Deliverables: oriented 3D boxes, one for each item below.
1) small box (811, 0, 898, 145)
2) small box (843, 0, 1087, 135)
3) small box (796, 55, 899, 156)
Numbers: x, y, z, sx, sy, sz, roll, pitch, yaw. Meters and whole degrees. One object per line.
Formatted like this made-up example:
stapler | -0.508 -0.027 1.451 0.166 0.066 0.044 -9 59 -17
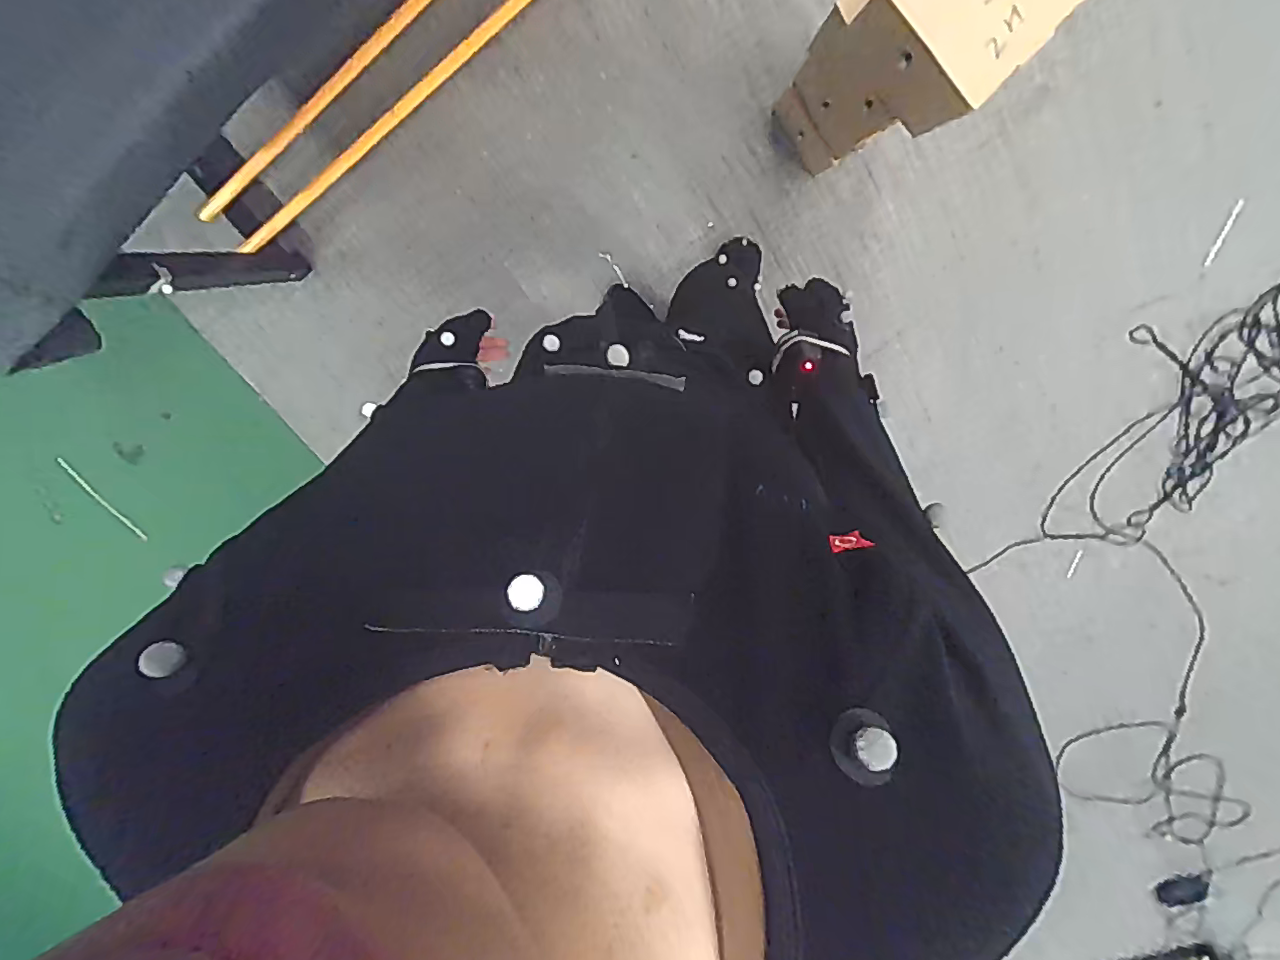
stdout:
small box | 0.378 -0.639 0.801 0.168 0.176 0.179 -31 108 15
small box | 0.380 -0.561 0.656 0.179 0.176 0.168 41 109 -14
small box | 0.400 -0.703 0.950 0.168 0.176 0.179 -34 106 15
